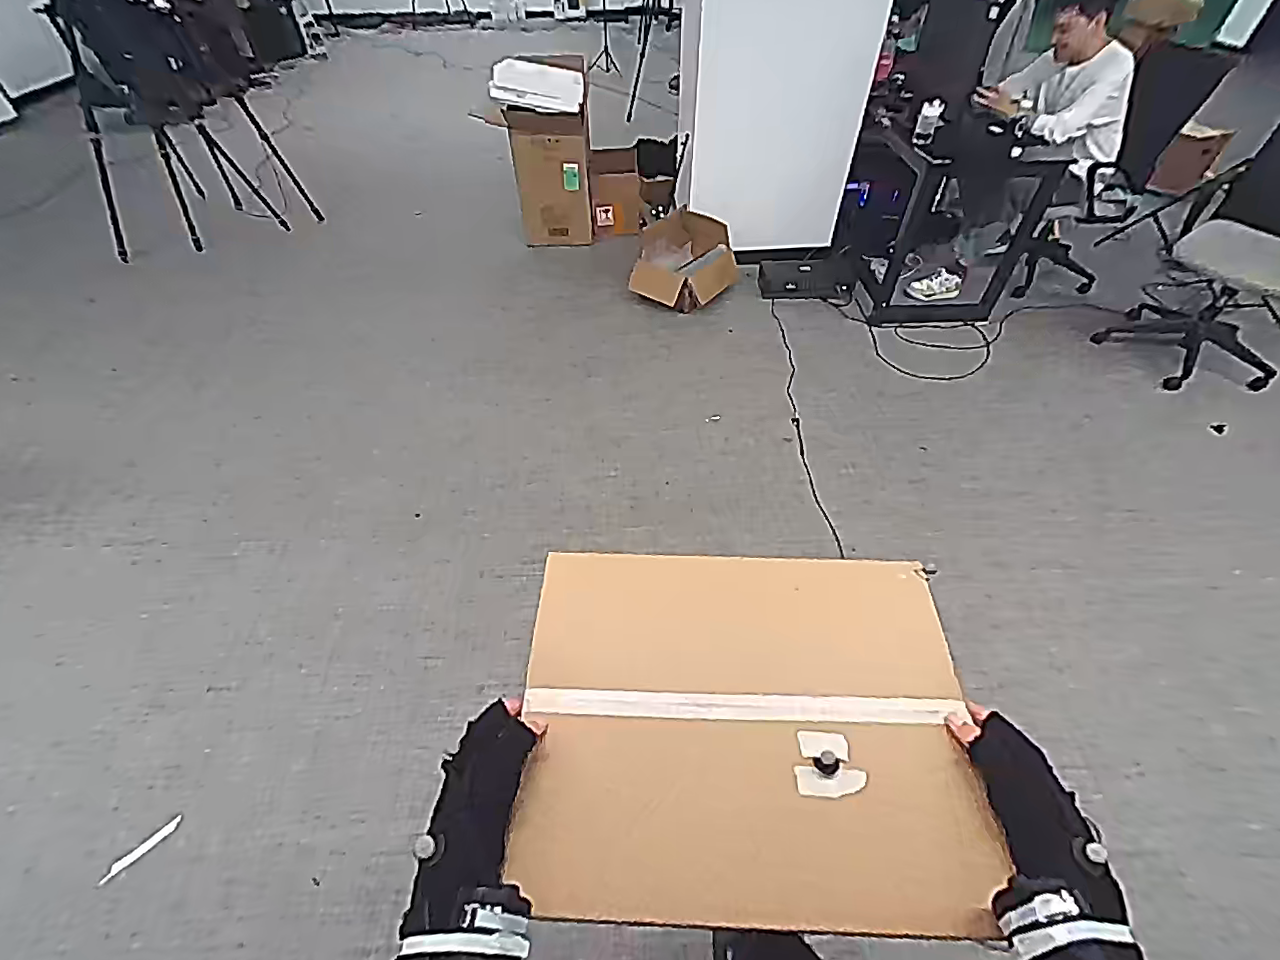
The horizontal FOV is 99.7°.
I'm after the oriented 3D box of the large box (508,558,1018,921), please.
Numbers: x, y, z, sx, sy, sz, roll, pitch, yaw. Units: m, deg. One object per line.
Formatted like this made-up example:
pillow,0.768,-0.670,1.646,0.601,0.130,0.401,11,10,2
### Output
large box,0.097,0.302,0.624,0.408,0.320,0.320,1,53,2
